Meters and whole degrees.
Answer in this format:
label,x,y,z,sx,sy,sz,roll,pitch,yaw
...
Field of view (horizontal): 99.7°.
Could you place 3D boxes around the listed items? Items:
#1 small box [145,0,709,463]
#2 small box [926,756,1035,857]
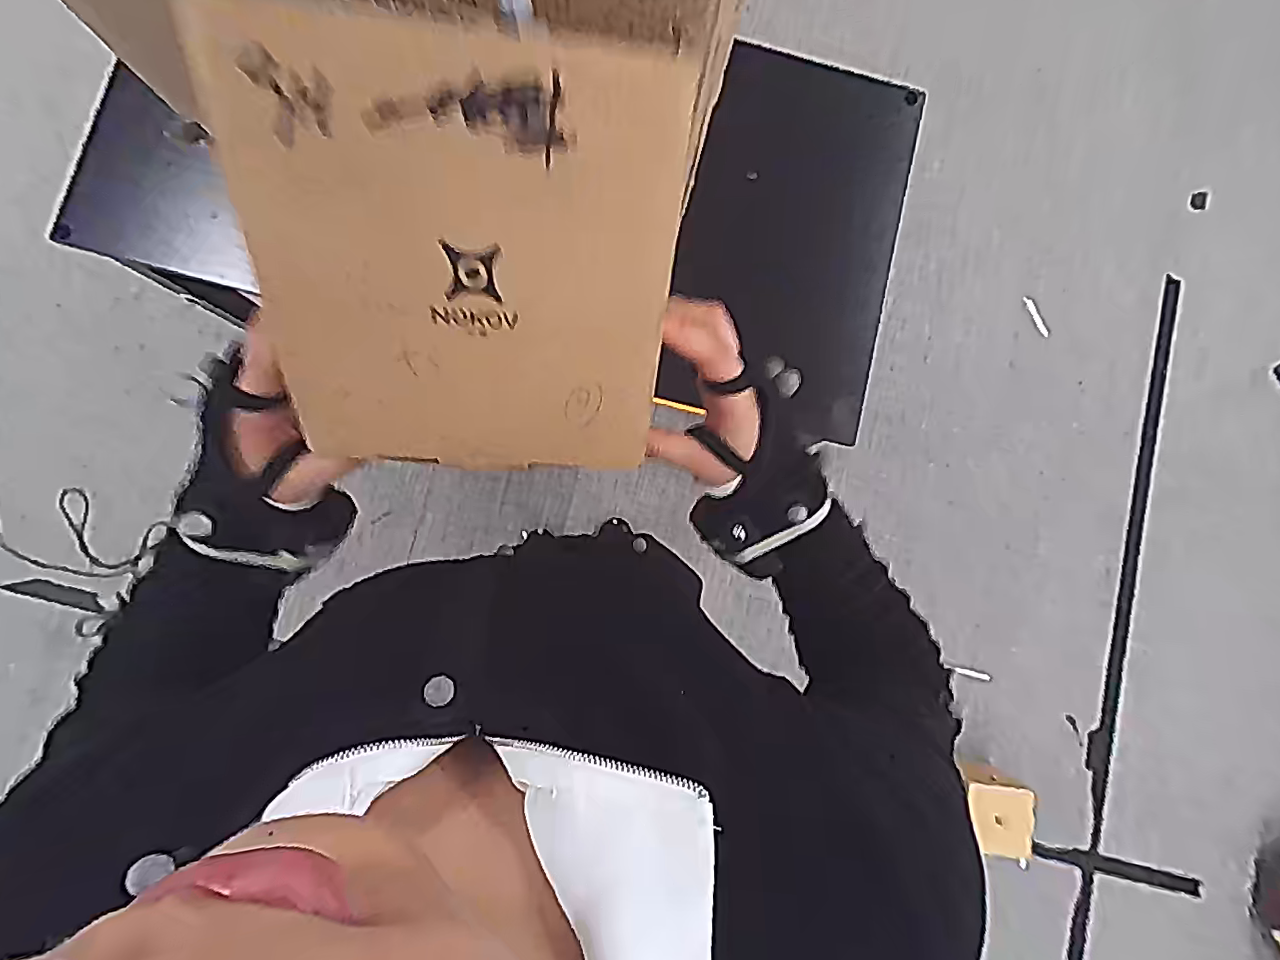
label,x,y,z,sx,sy,sz,roll,pitch,yaw
small box,-0.074,-0.129,0.271,0.168,0.179,0.176,2,40,-8
small box,0.894,0.854,1.430,0.179,0.176,0.168,8,84,-1
